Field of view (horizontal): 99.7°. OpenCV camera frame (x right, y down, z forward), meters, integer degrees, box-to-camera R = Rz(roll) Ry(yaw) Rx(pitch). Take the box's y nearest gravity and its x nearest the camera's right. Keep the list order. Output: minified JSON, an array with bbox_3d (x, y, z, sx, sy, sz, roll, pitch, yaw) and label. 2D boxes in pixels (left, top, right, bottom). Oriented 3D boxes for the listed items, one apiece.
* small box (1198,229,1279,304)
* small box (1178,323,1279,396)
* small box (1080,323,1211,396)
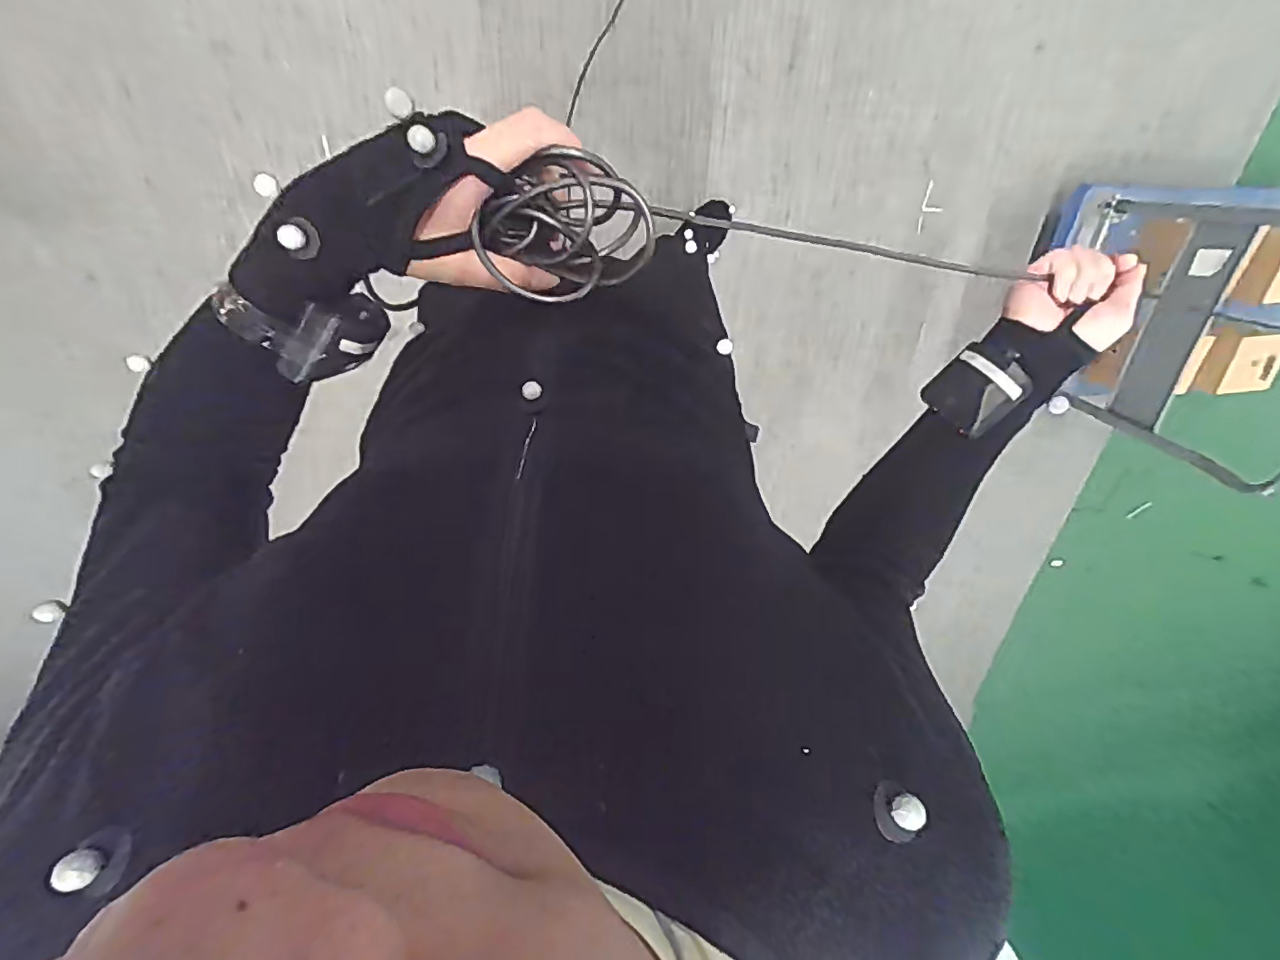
[{"bbox_3d":[1.687,-0.576,1.456,0.179,0.176,0.168,-6,121,-6],"label":"small box"},{"bbox_3d":[1.697,-0.358,1.580,0.179,0.176,0.168,-5,119,-6],"label":"small box"},{"bbox_3d":[1.429,-0.346,1.542,0.179,0.176,0.168,-1,119,-8],"label":"small box"}]
